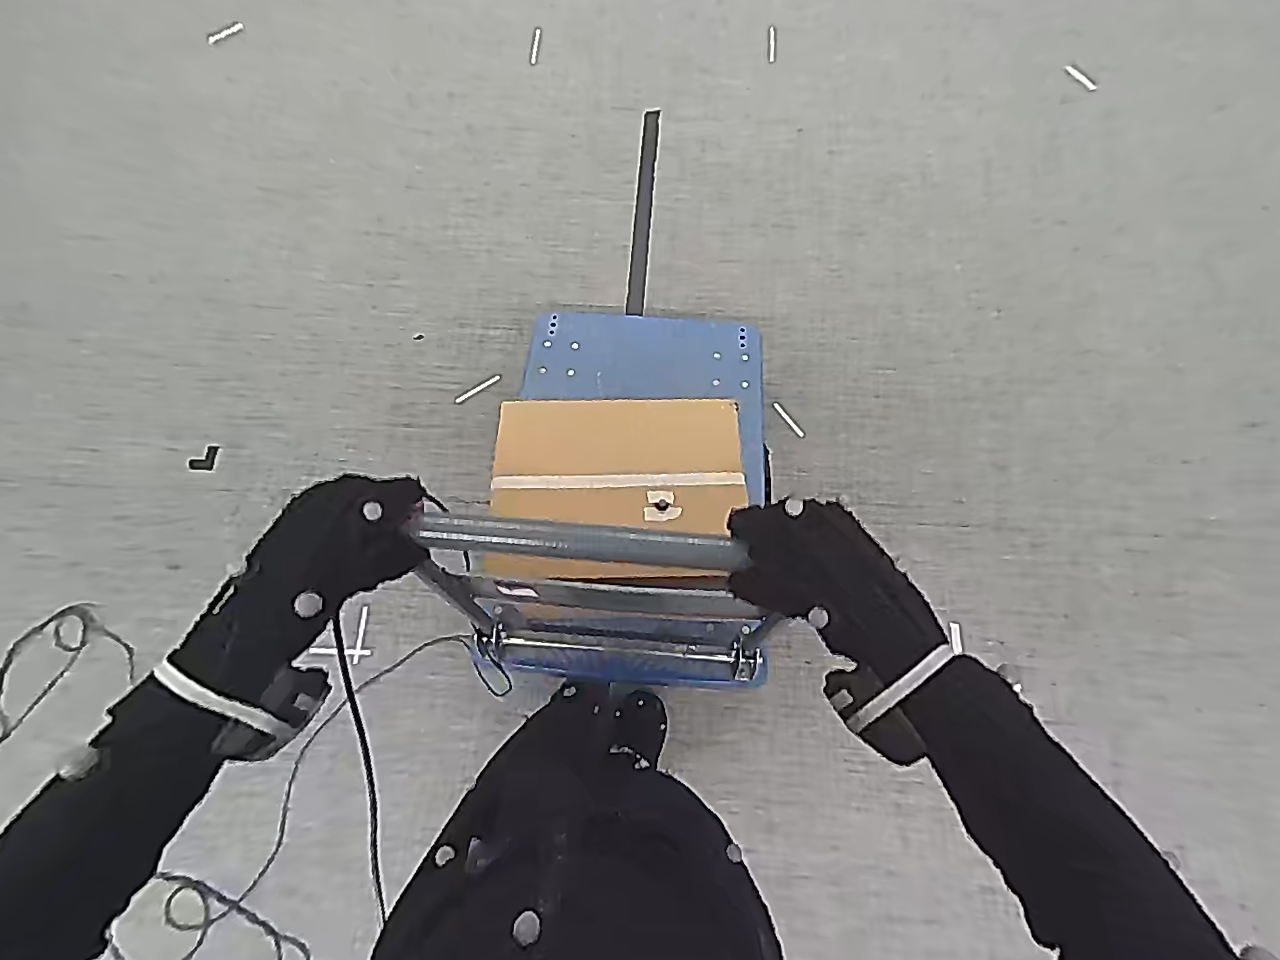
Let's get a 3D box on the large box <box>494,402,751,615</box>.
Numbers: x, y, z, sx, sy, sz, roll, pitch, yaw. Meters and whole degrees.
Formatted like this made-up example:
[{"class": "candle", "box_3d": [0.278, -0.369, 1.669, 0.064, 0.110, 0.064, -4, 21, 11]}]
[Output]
[{"class": "large box", "box_3d": [-0.035, 0.066, 1.021, 0.408, 0.320, 0.320, 0, 65, -2]}]
